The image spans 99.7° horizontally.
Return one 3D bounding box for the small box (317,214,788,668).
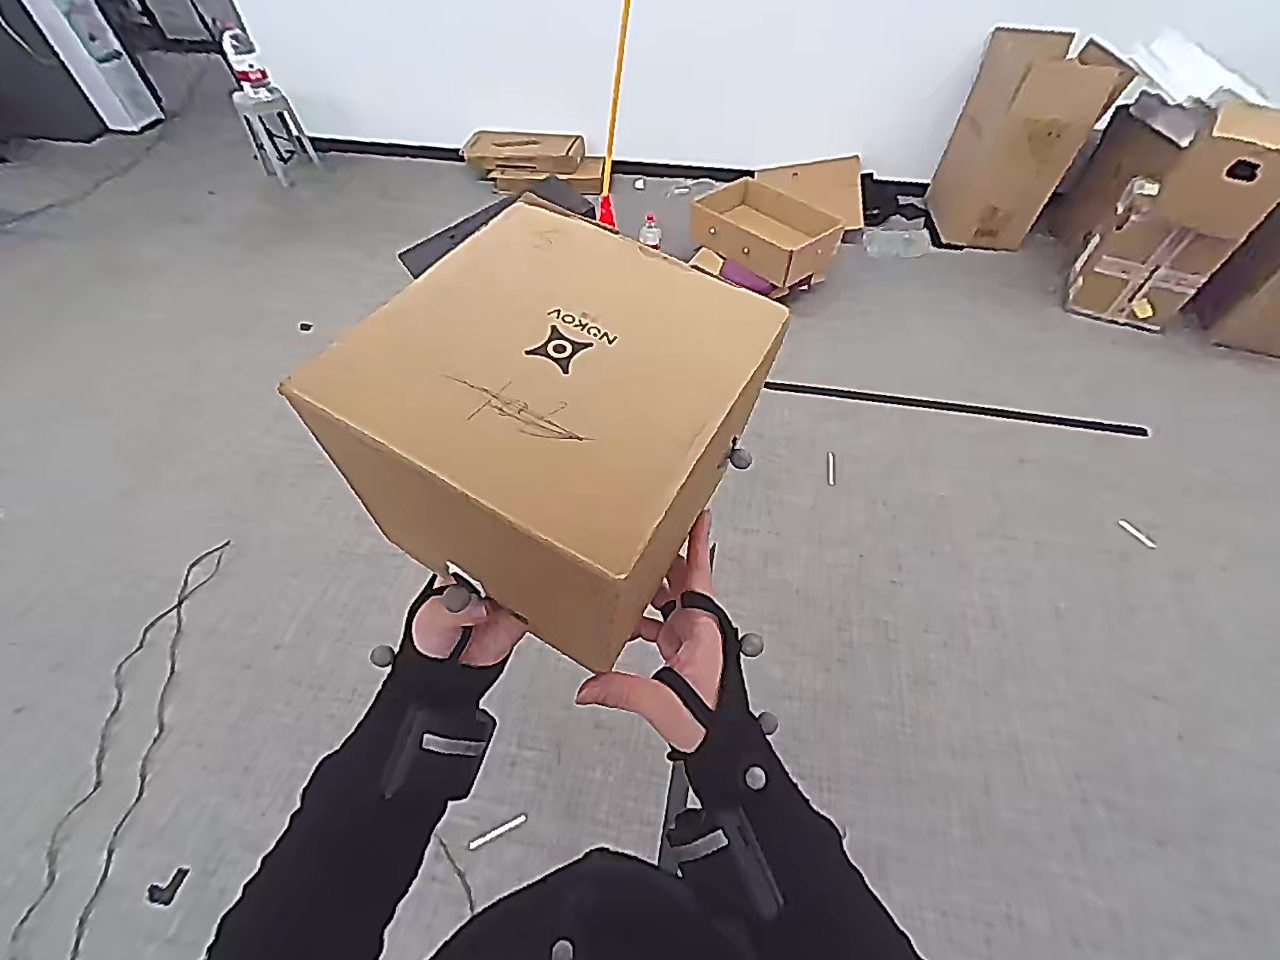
[{"bbox_3d":[-0.039,-0.016,0.328,0.168,0.176,0.179,28,61,11],"label":"small box"}]
